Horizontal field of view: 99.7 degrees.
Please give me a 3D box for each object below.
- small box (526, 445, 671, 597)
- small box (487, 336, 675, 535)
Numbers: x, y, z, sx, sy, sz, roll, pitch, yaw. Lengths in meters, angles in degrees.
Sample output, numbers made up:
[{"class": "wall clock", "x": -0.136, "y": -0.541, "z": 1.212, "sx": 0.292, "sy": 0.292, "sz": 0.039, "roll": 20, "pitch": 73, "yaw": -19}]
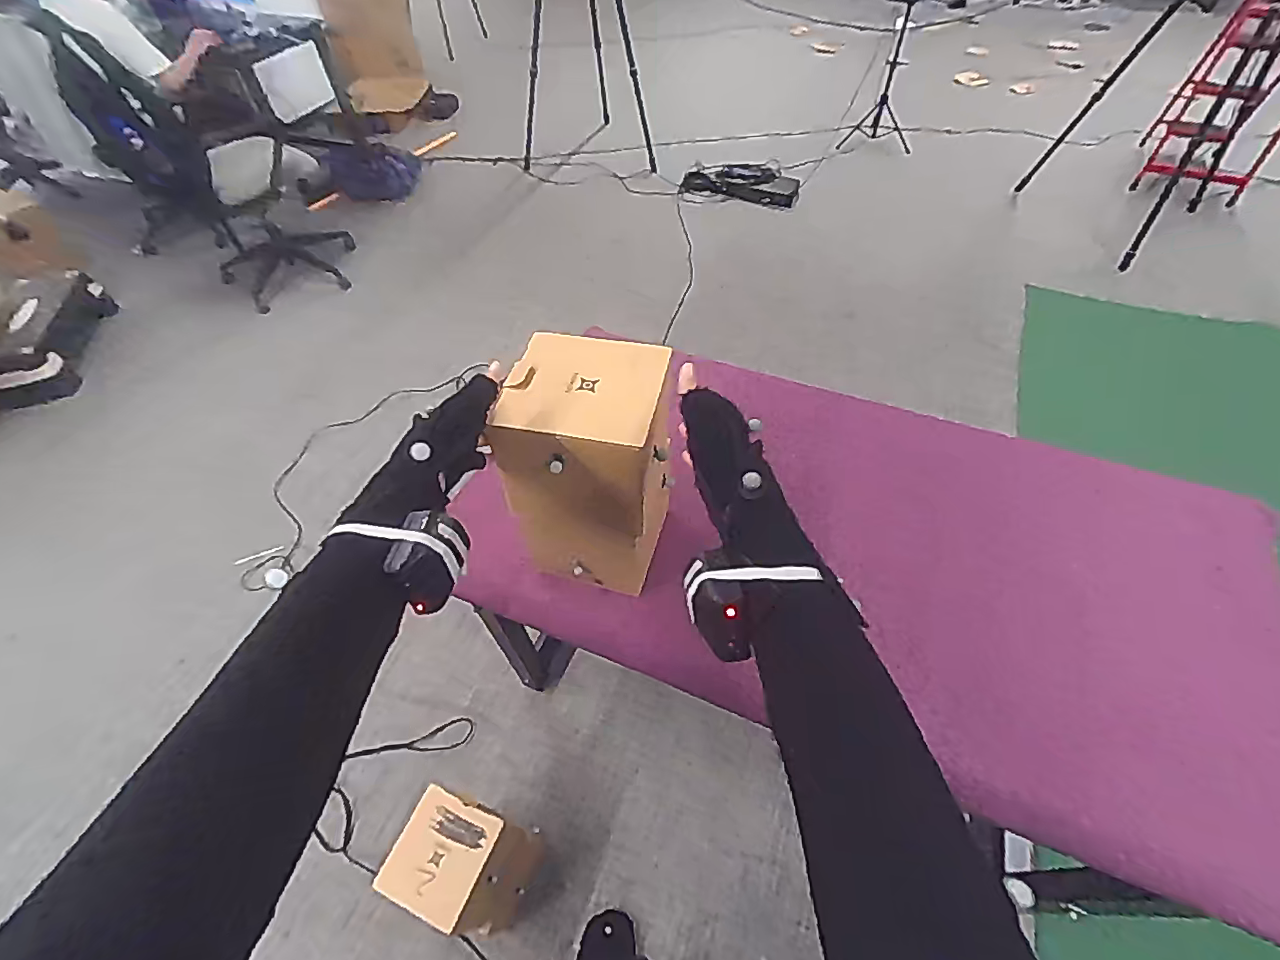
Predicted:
[{"class": "small box", "x": -0.060, "y": 0.043, "z": 0.803, "sx": 0.168, "sy": 0.176, "sz": 0.179, "roll": 14, "pitch": 52, "yaw": 11}, {"class": "small box", "x": -0.060, "y": -0.050, "z": 0.669, "sx": 0.179, "sy": 0.176, "sz": 0.168, "roll": 10, "pitch": 52, "yaw": 8}]
